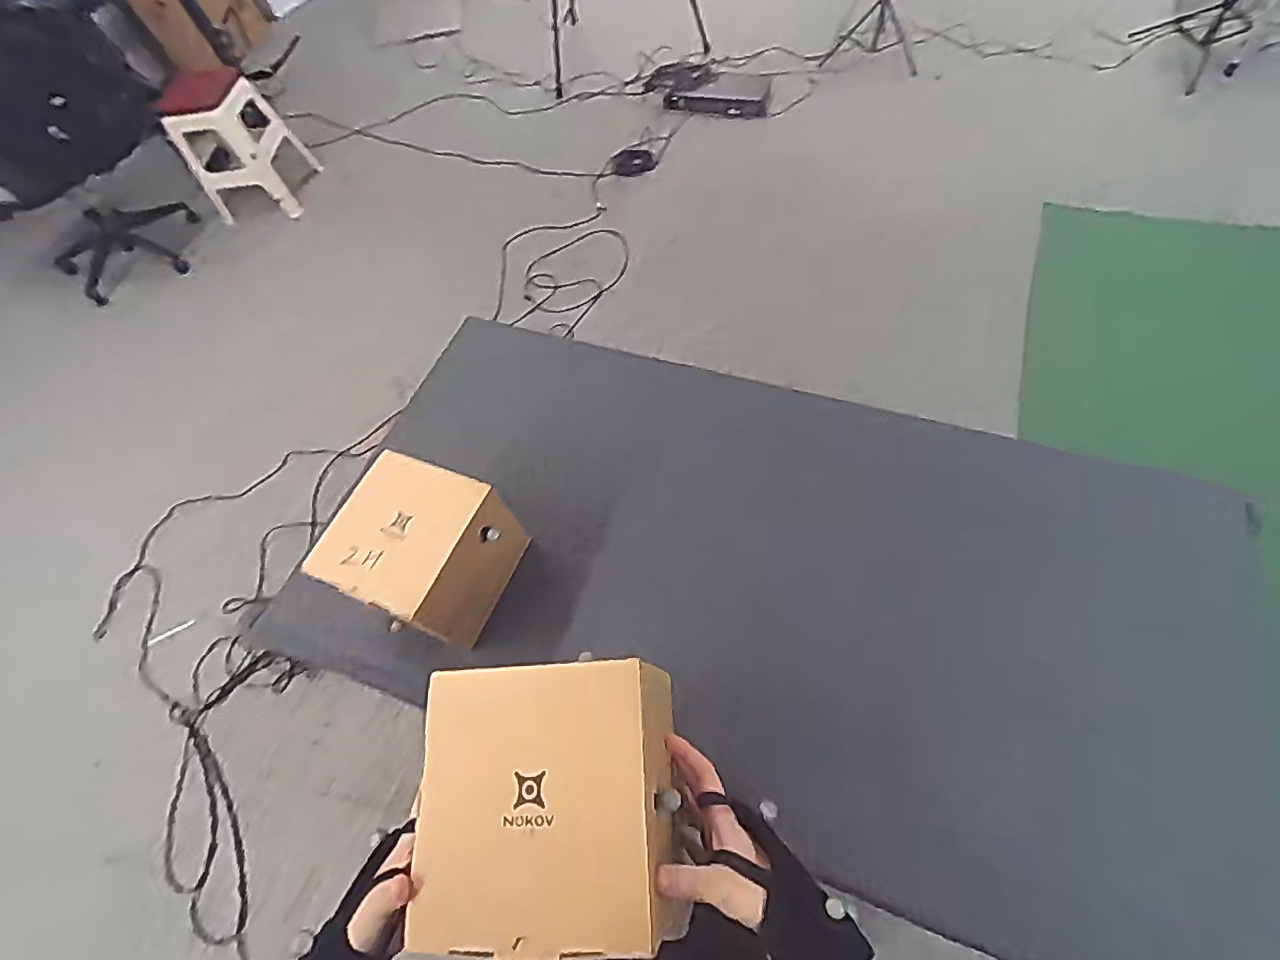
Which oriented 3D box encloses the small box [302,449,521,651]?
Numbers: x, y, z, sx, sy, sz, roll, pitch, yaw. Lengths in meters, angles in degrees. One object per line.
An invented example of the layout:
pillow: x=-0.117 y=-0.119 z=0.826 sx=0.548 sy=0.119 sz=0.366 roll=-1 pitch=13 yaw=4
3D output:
small box: x=-0.271 y=0.094 z=0.696 sx=0.168 sy=0.176 sz=0.179 roll=18 pitch=64 yaw=16

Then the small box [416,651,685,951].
small box: x=-0.054 y=0.243 z=0.441 sx=0.168 sy=0.176 sz=0.179 roll=-6 pitch=66 yaw=7
